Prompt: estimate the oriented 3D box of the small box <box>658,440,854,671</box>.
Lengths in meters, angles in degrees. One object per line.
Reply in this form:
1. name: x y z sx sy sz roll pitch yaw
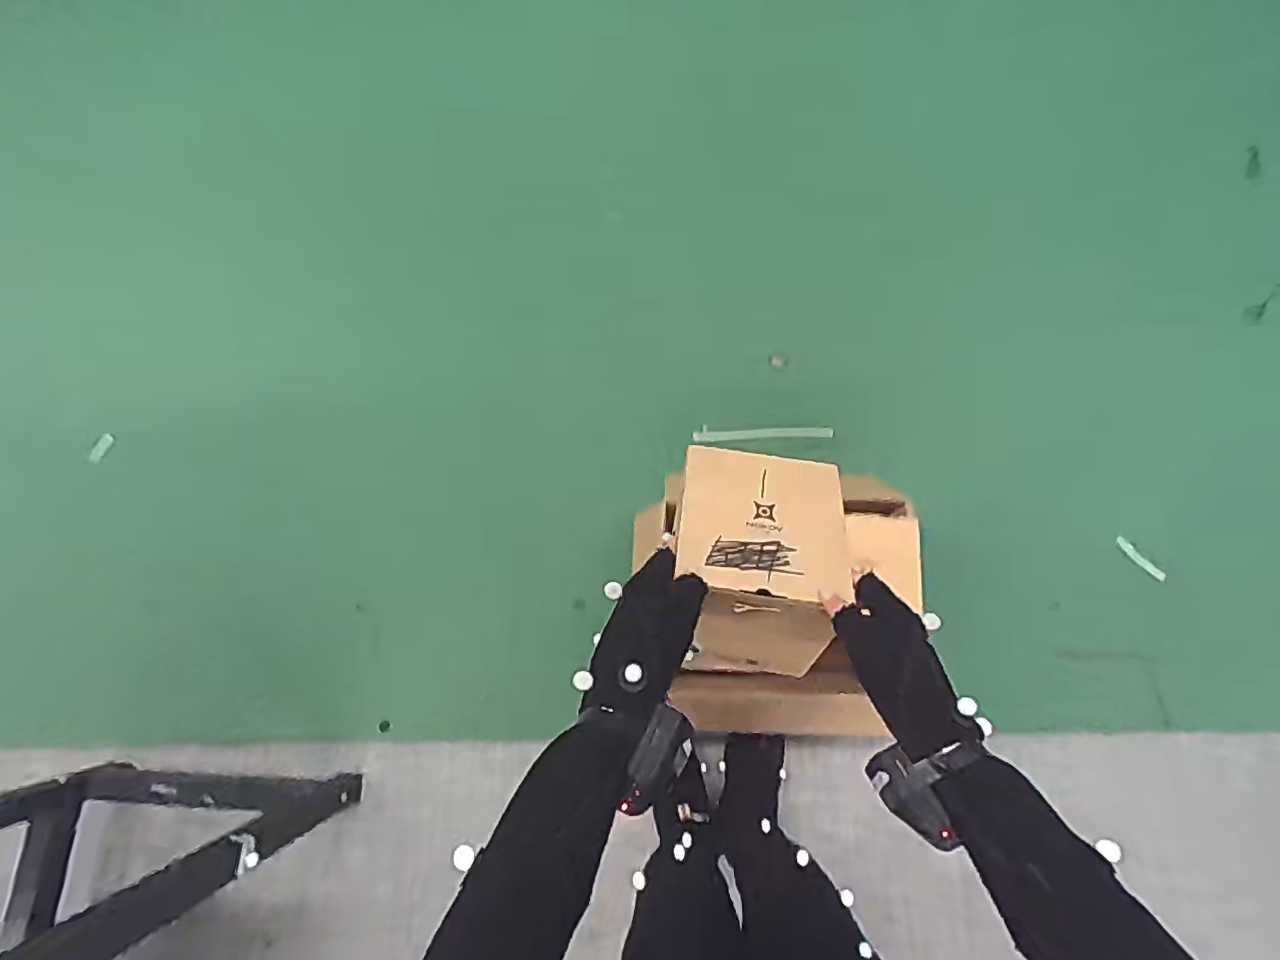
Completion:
1. small box: 0.113 0.085 0.581 0.168 0.176 0.179 9 50 3
